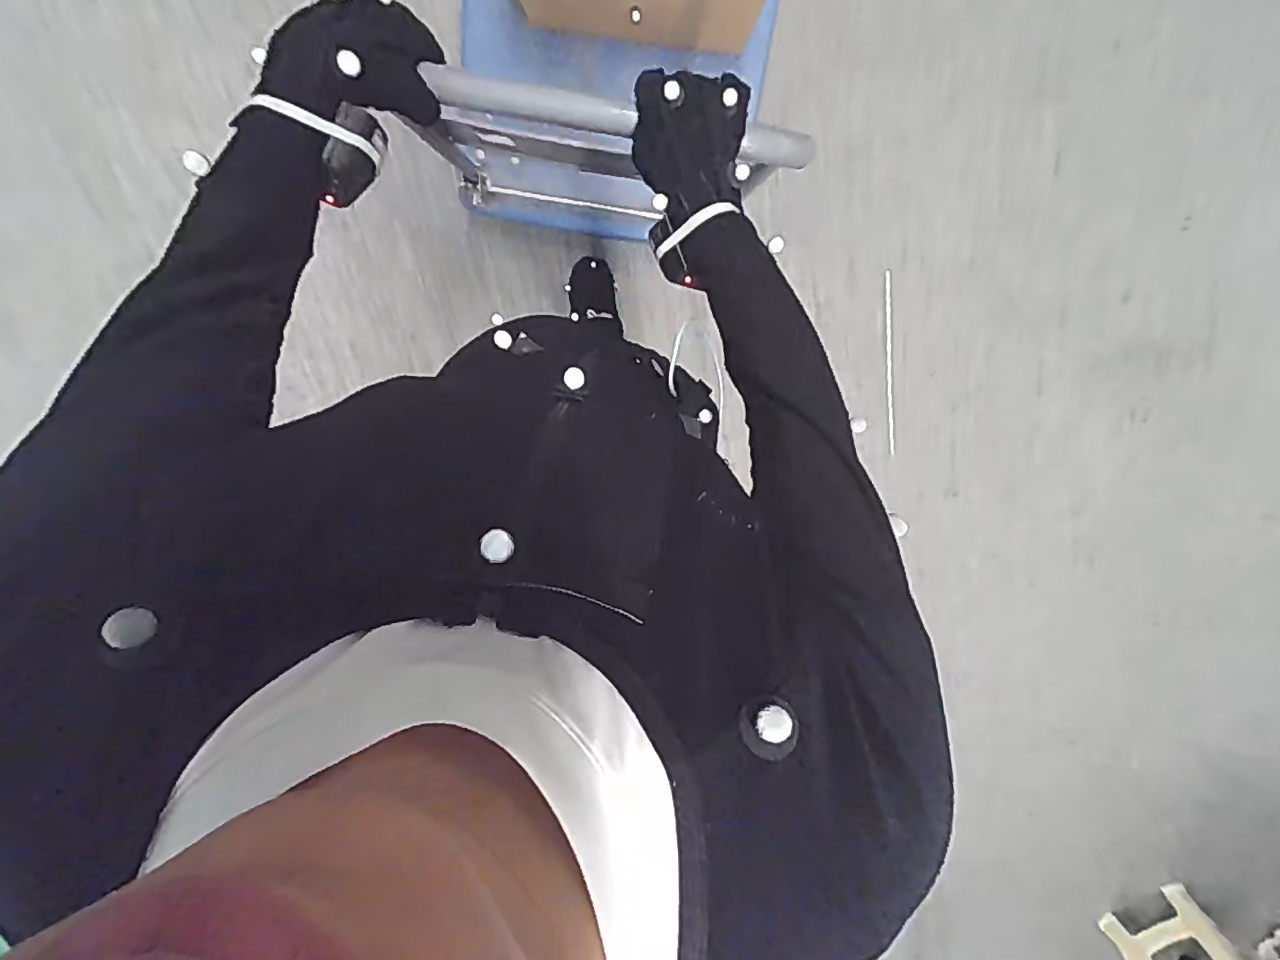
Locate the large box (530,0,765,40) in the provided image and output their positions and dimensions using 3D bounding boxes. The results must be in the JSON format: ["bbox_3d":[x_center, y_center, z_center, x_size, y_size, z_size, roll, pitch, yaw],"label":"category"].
[{"bbox_3d":[0.017,-0.928,0.827,0.408,0.320,0.320,6,111,-1],"label":"large box"}]
